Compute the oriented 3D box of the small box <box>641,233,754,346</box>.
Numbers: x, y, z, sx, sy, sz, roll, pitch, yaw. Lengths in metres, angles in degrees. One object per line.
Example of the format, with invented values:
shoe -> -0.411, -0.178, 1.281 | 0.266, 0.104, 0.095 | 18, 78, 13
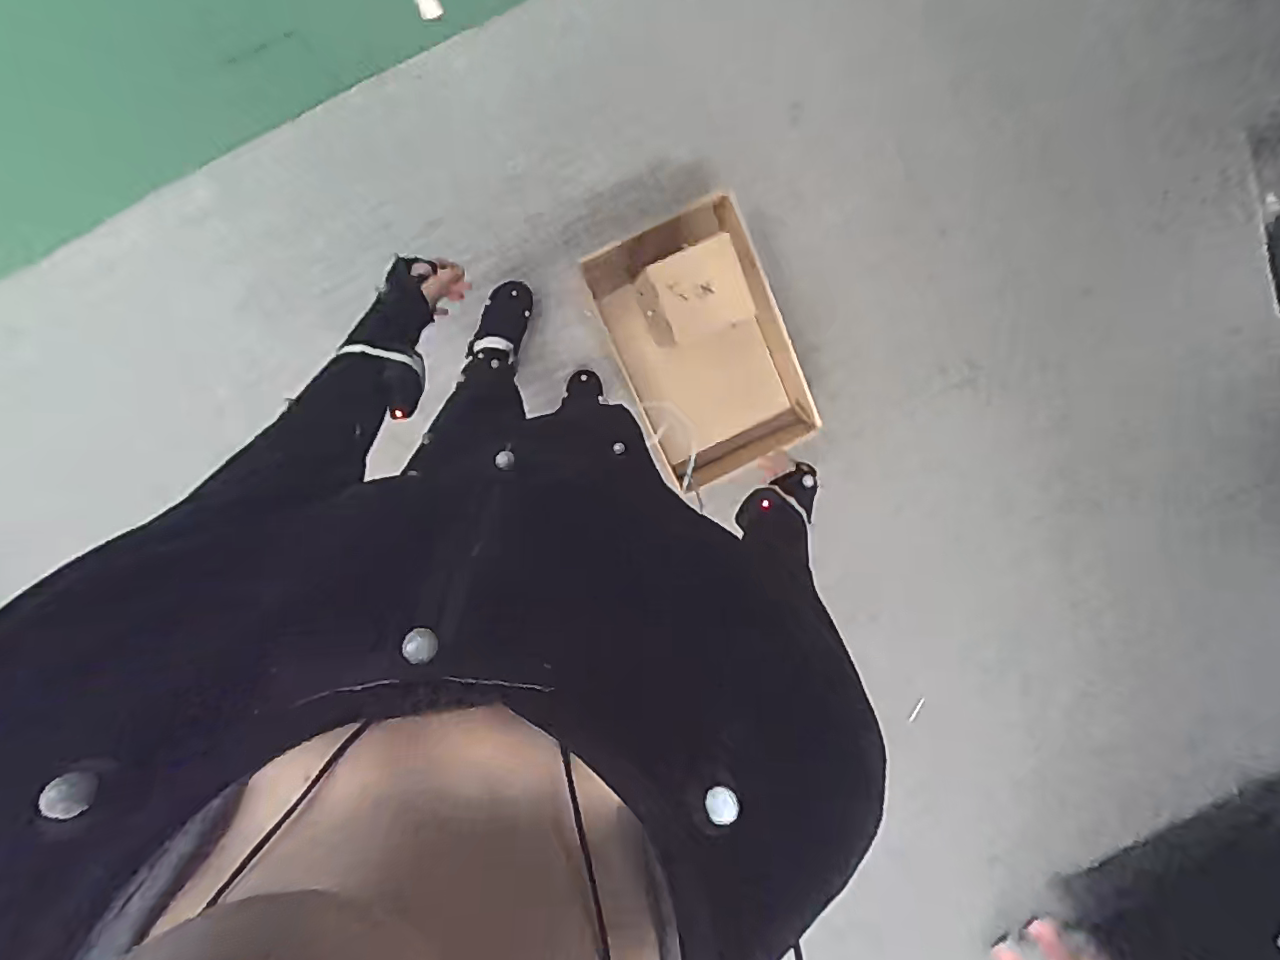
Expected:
small box -> 0.113, -0.391, 1.132 | 0.179, 0.176, 0.168 | -22, 104, 1
